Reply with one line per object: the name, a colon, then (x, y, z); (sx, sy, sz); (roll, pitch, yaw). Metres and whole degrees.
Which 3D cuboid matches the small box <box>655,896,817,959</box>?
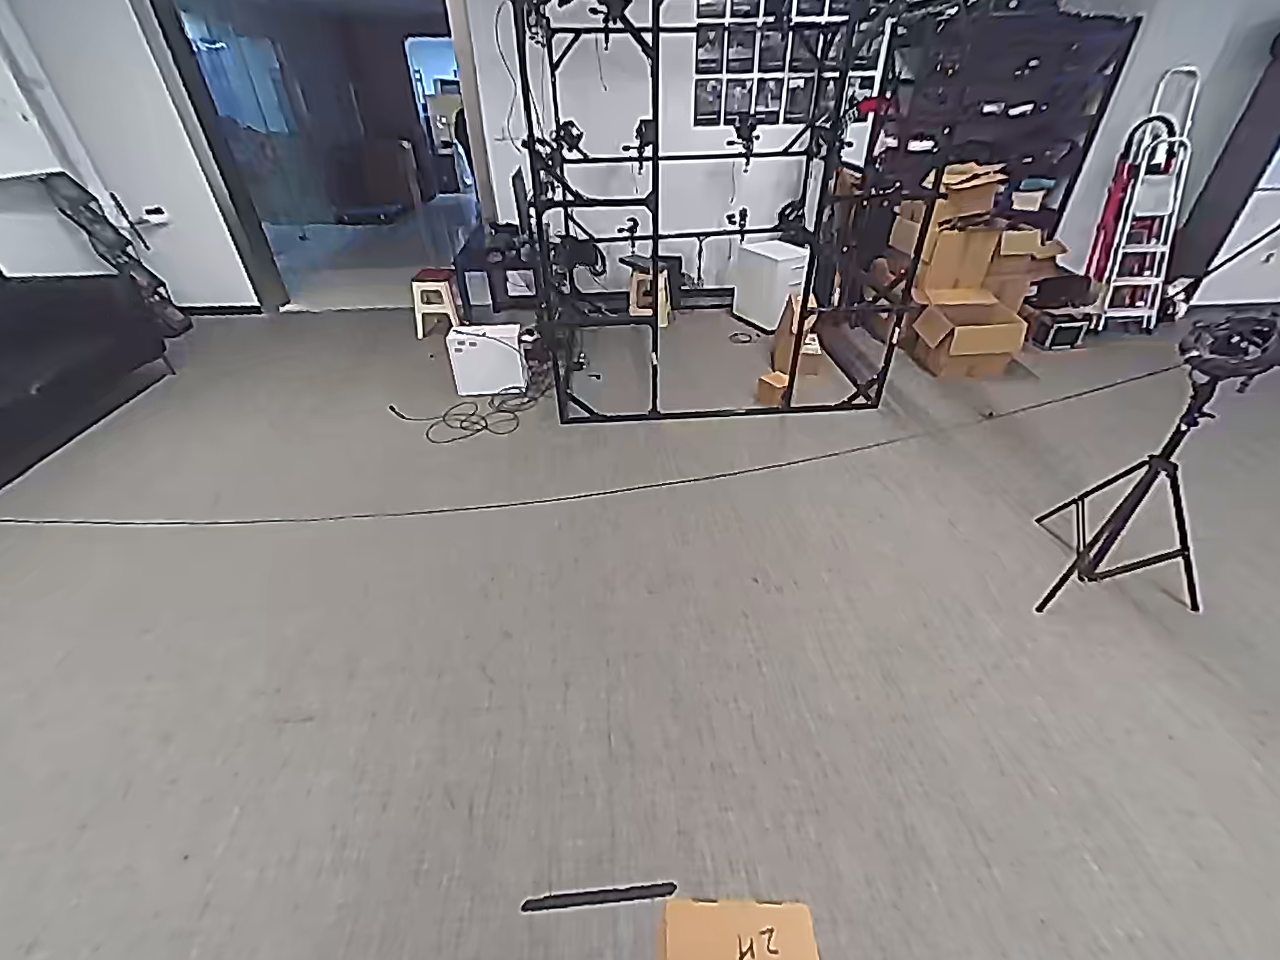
small box: (0.102, 0.591, 0.593); (0.168, 0.176, 0.179); (3, 38, -1)
